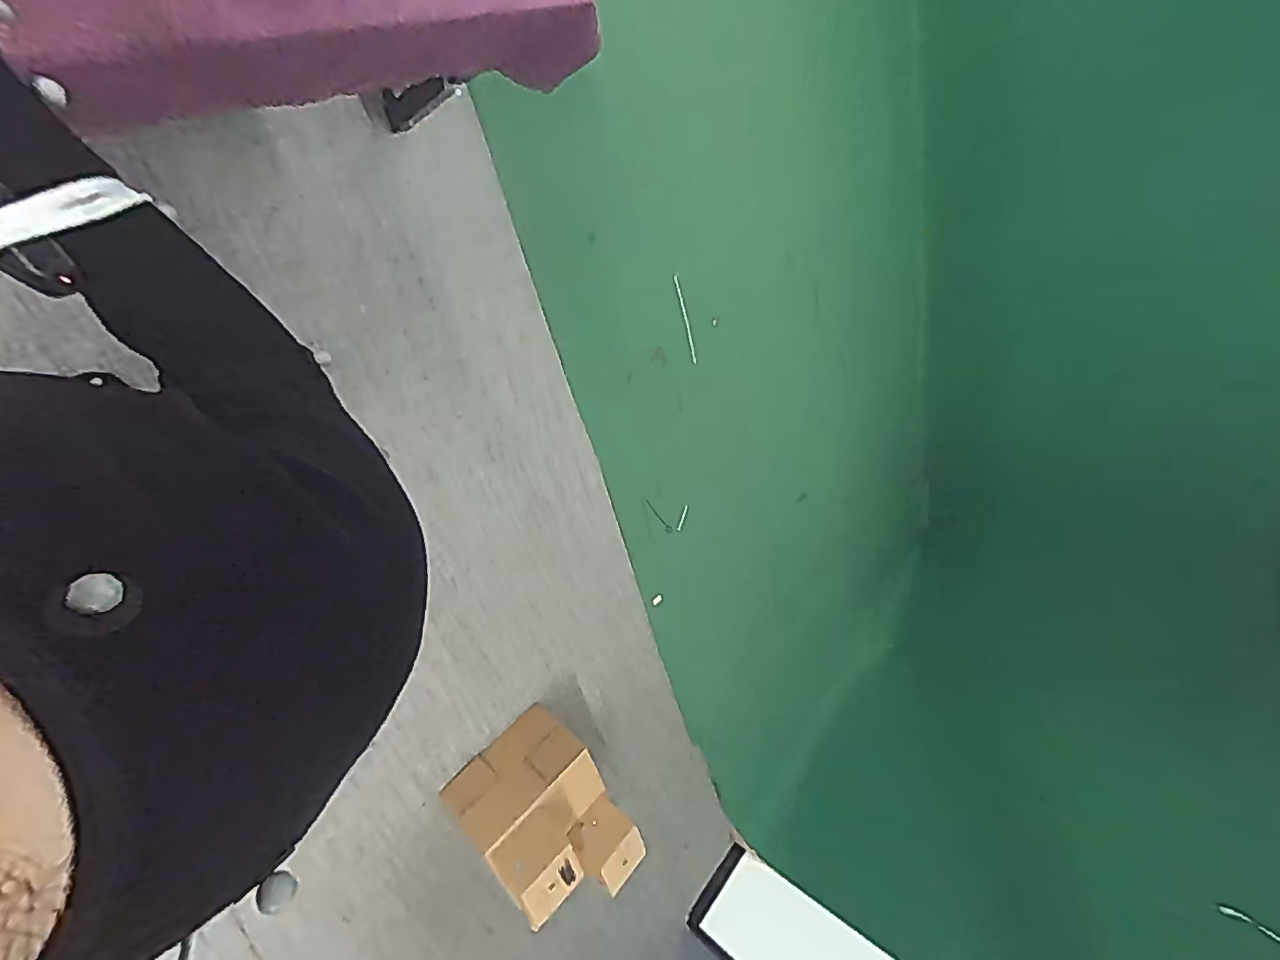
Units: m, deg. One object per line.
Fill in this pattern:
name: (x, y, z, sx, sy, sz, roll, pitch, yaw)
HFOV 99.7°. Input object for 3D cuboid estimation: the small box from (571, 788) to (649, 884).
small box: (-0.100, 1.168, 1.787, 0.168, 0.176, 0.179, -37, 126, -35)
